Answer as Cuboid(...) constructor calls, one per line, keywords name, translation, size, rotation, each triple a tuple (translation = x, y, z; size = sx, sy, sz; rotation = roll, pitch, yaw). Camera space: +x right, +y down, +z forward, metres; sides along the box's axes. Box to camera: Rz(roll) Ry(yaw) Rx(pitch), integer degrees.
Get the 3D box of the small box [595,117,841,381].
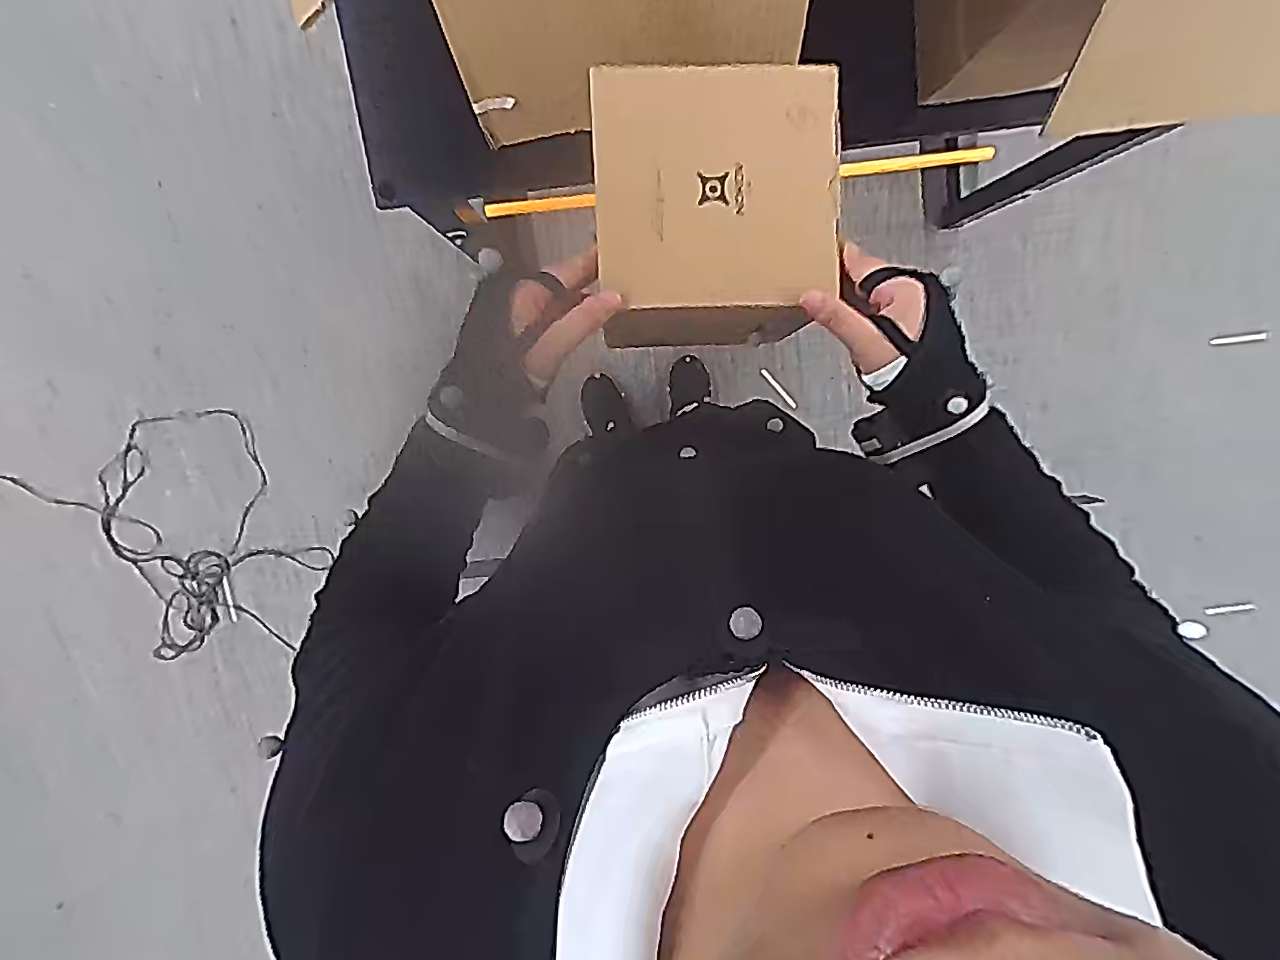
Cuboid(name="small box", translation=(0.054, -0.179, 0.468), size=(0.179, 0.176, 0.168), rotation=(-3, 93, -2))
